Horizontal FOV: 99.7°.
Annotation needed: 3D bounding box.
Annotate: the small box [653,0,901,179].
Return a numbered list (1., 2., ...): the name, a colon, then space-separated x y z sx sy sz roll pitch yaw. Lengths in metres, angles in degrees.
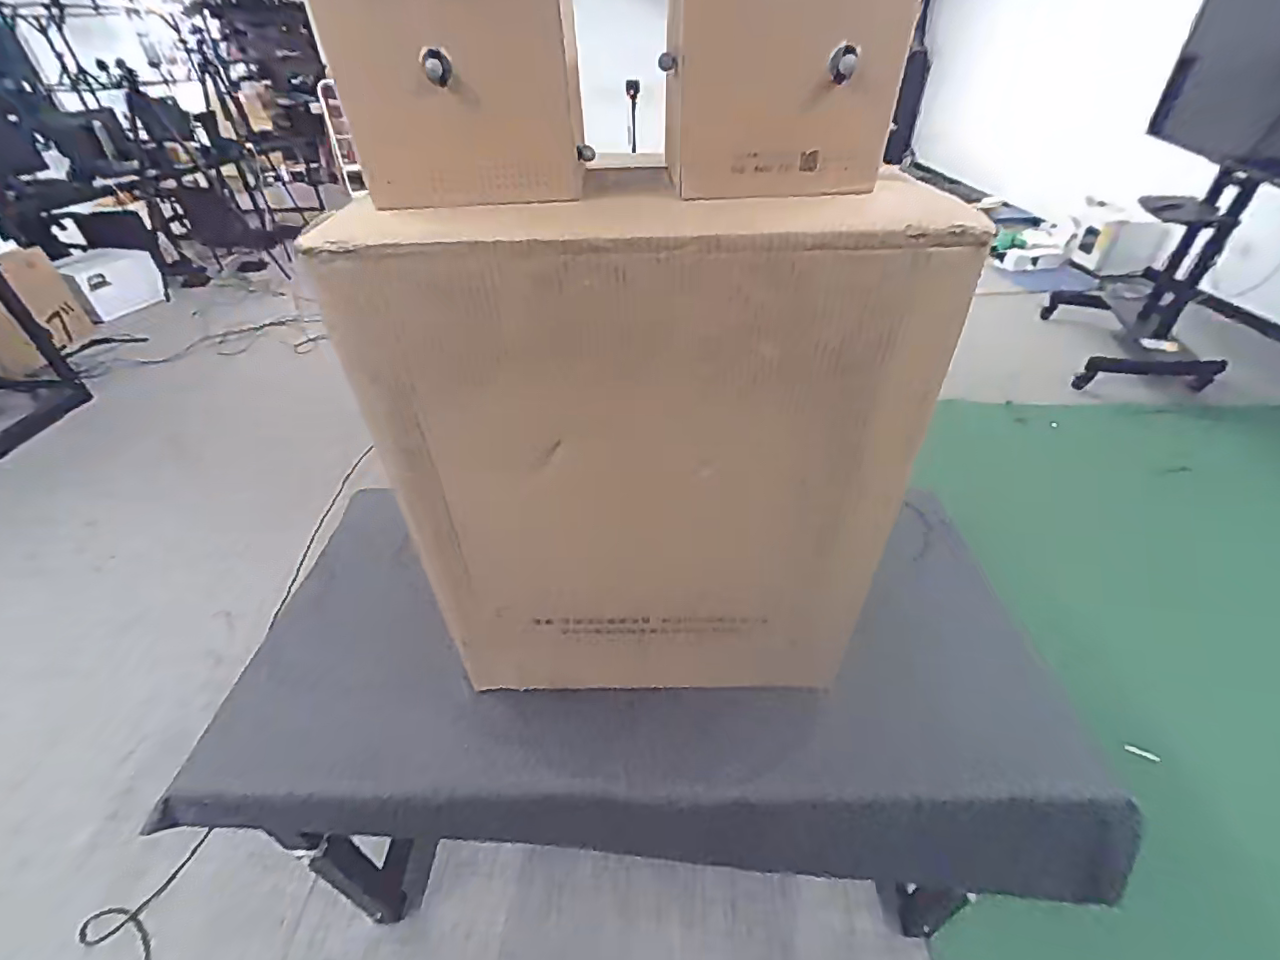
1. small box: 0.103 -0.365 0.458 0.168 0.176 0.179 -5 43 -4

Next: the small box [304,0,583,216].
1. small box: -0.146 -0.344 0.470 0.179 0.176 0.168 -4 41 0
